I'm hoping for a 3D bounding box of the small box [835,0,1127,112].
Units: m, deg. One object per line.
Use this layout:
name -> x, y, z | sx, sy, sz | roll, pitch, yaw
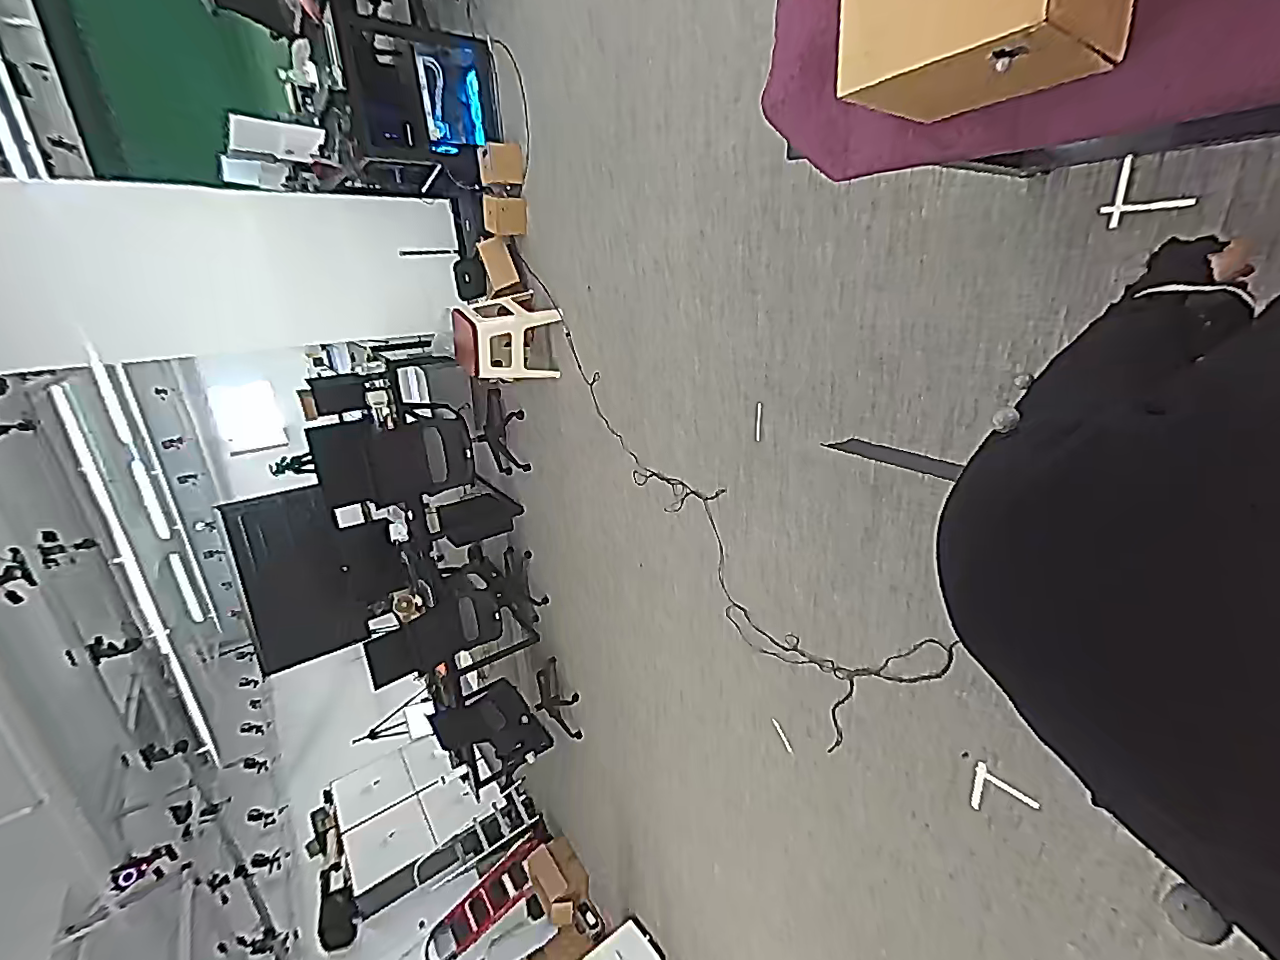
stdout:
small box -> 0.299, -0.450, 0.473 | 0.179, 0.176, 0.168 | 19, 119, 51
